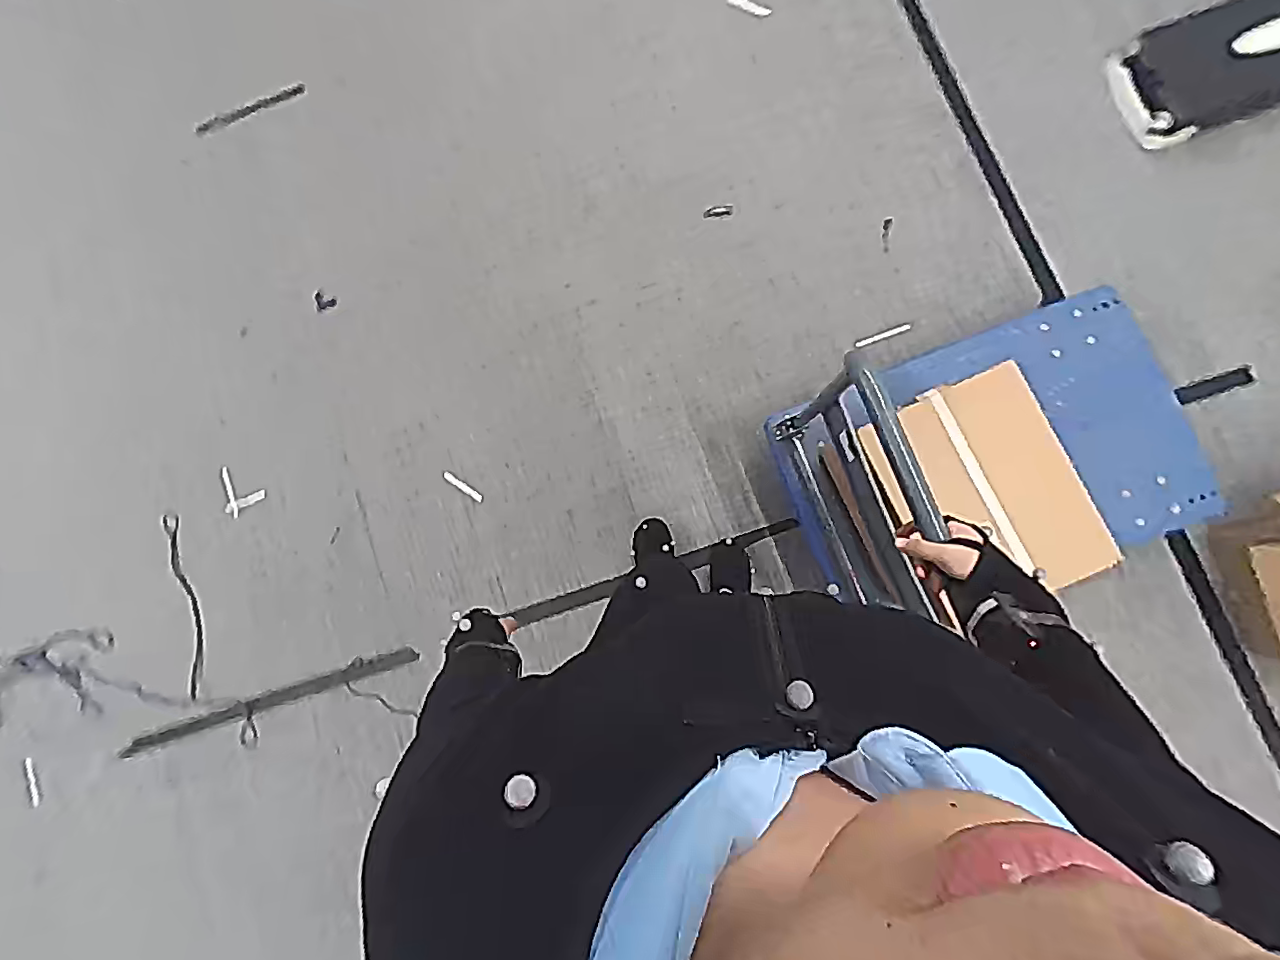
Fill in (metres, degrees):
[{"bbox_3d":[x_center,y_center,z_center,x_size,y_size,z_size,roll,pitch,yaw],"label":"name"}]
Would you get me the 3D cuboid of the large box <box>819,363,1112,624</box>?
[{"bbox_3d":[0.637,0.030,1.138,0.320,0.320,0.408,-25,84,4],"label":"large box"}]
